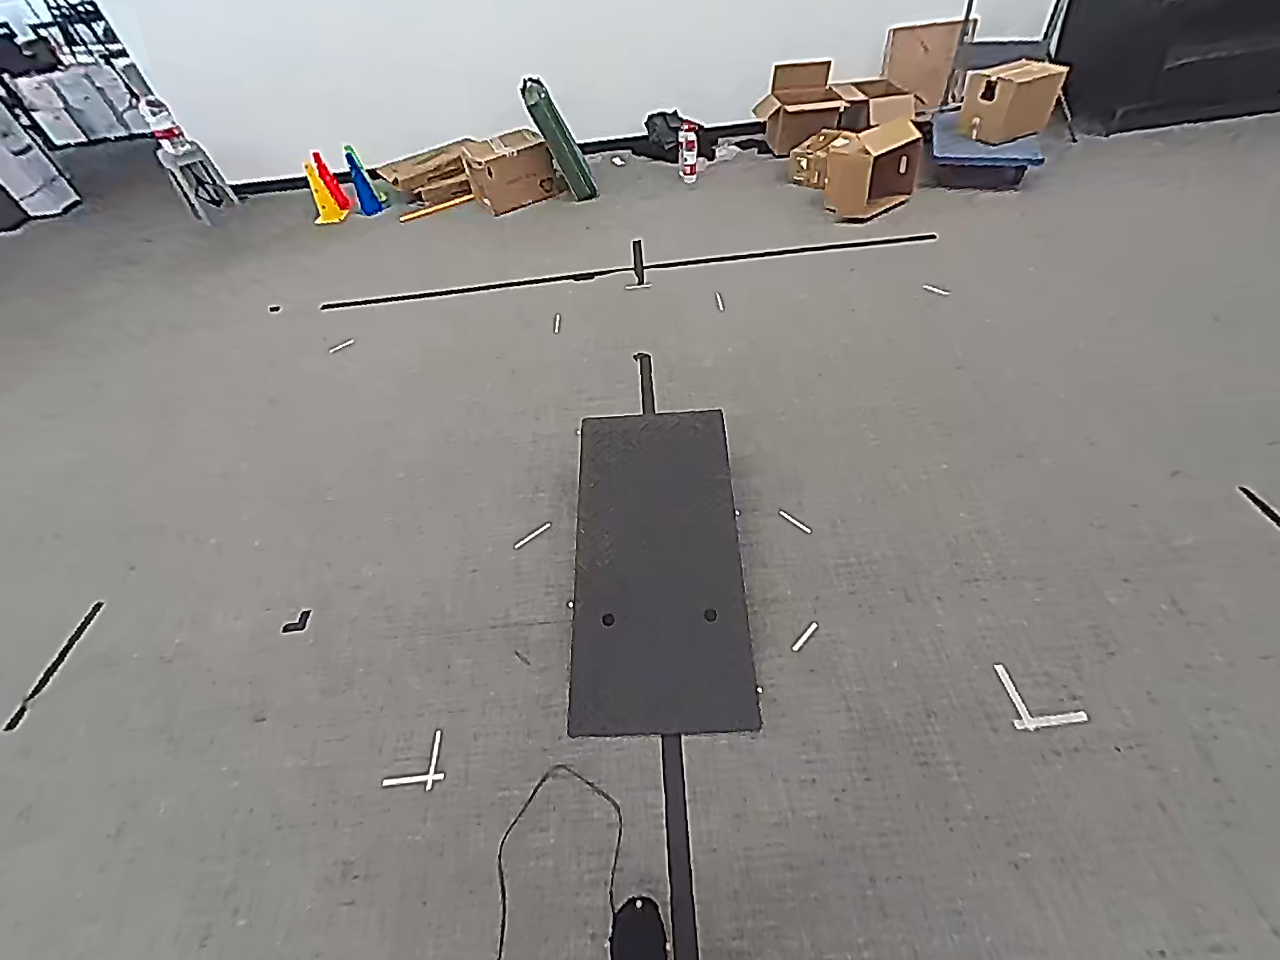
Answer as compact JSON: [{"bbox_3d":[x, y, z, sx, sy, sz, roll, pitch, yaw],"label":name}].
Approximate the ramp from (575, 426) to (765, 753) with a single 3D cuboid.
[{"bbox_3d":[0.056,0.255,1.626,0.509,0.206,0.991,-6,47,1],"label":"ramp"}]
